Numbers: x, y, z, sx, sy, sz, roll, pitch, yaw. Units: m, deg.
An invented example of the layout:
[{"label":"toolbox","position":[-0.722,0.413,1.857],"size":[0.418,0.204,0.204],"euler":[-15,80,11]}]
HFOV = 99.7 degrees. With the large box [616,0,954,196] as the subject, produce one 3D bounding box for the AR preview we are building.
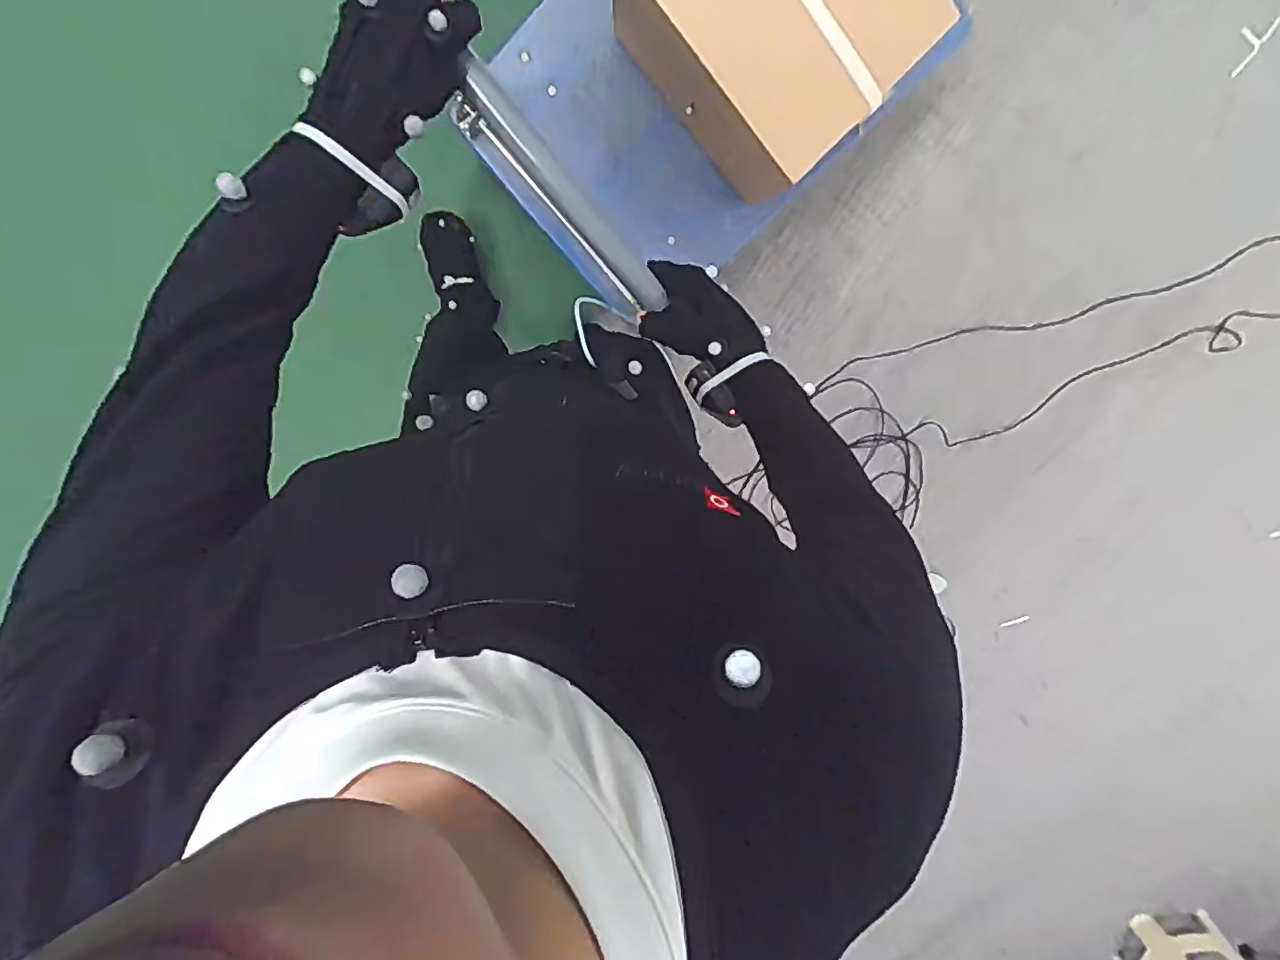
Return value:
[{"label":"large box","position":[0.204,-0.757,0.894],"size":[0.320,0.320,0.408],"euler":[-43,107,12]}]
